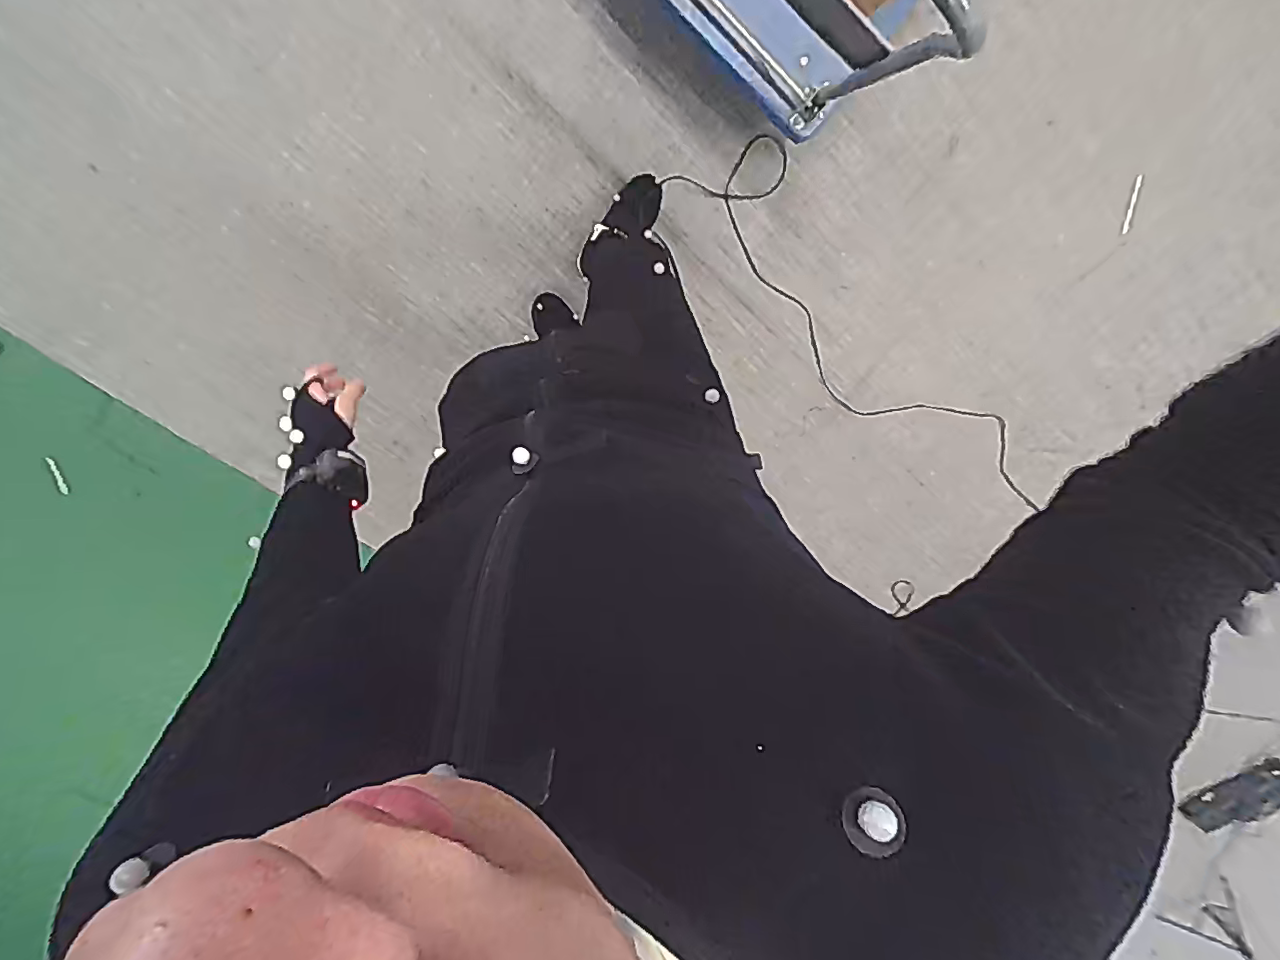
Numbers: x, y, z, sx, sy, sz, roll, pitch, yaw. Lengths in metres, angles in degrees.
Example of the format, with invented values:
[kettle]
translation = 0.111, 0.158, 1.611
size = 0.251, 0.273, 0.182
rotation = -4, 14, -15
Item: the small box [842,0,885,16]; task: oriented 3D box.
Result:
[small box]
translation = 0.440, -0.999, 0.967
size = 0.168, 0.176, 0.179
rotation = 35, 109, -18
